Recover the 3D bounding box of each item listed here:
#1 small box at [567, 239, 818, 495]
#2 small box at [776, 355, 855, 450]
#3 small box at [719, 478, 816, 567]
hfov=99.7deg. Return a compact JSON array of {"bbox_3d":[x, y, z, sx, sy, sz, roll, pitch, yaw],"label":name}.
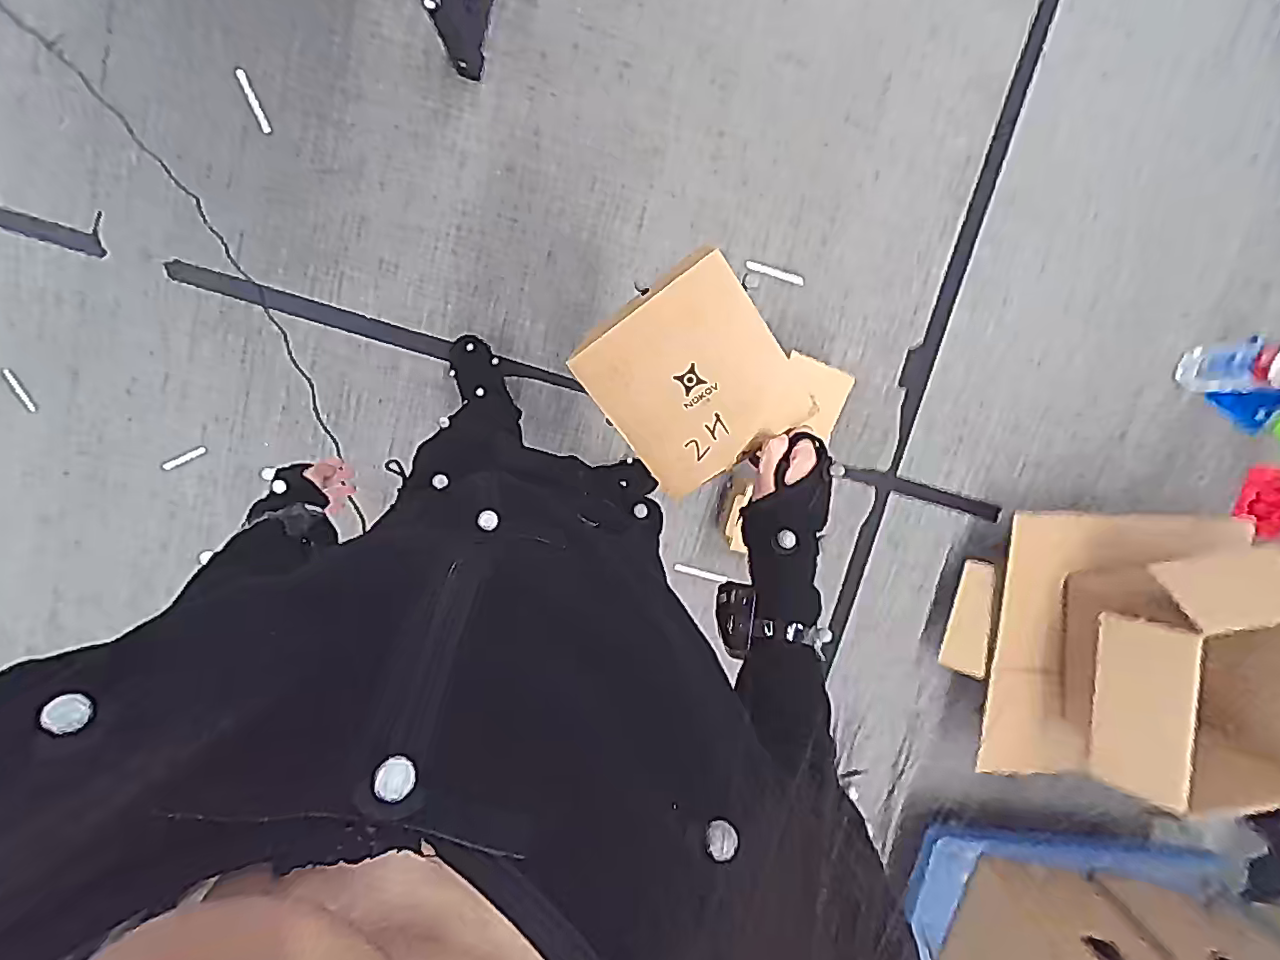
[{"bbox_3d":[0.051,-0.122,0.560,0.168,0.176,0.179,-34,109,17],"label":"small box"},{"bbox_3d":[0.385,-0.191,1.324,0.168,0.176,0.179,21,99,-7],"label":"small box"},{"bbox_3d":[0.313,0.099,1.374,0.179,0.176,0.168,14,100,-6],"label":"small box"}]
